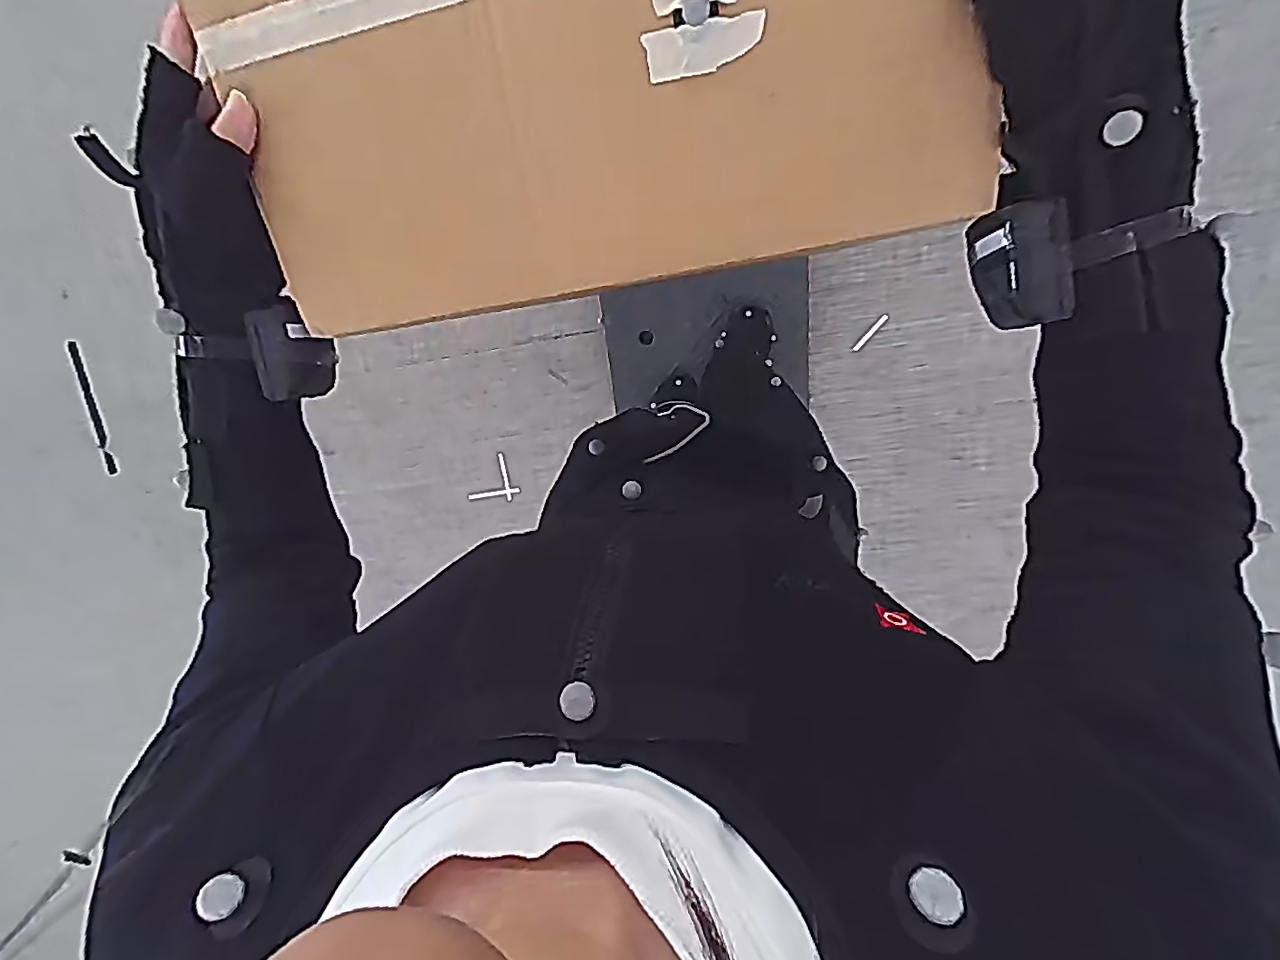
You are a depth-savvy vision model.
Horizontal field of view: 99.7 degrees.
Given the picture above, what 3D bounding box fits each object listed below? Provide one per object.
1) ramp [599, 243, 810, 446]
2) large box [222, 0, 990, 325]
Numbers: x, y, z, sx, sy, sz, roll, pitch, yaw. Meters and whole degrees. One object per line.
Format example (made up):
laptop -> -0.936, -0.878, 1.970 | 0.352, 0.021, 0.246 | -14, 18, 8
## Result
ramp -> 0.133, -0.565, 1.232 | 0.509, 0.206, 0.991 | -6, 103, 8
large box -> -0.019, -0.321, 0.413 | 0.408, 0.320, 0.320 | -7, 110, 10
